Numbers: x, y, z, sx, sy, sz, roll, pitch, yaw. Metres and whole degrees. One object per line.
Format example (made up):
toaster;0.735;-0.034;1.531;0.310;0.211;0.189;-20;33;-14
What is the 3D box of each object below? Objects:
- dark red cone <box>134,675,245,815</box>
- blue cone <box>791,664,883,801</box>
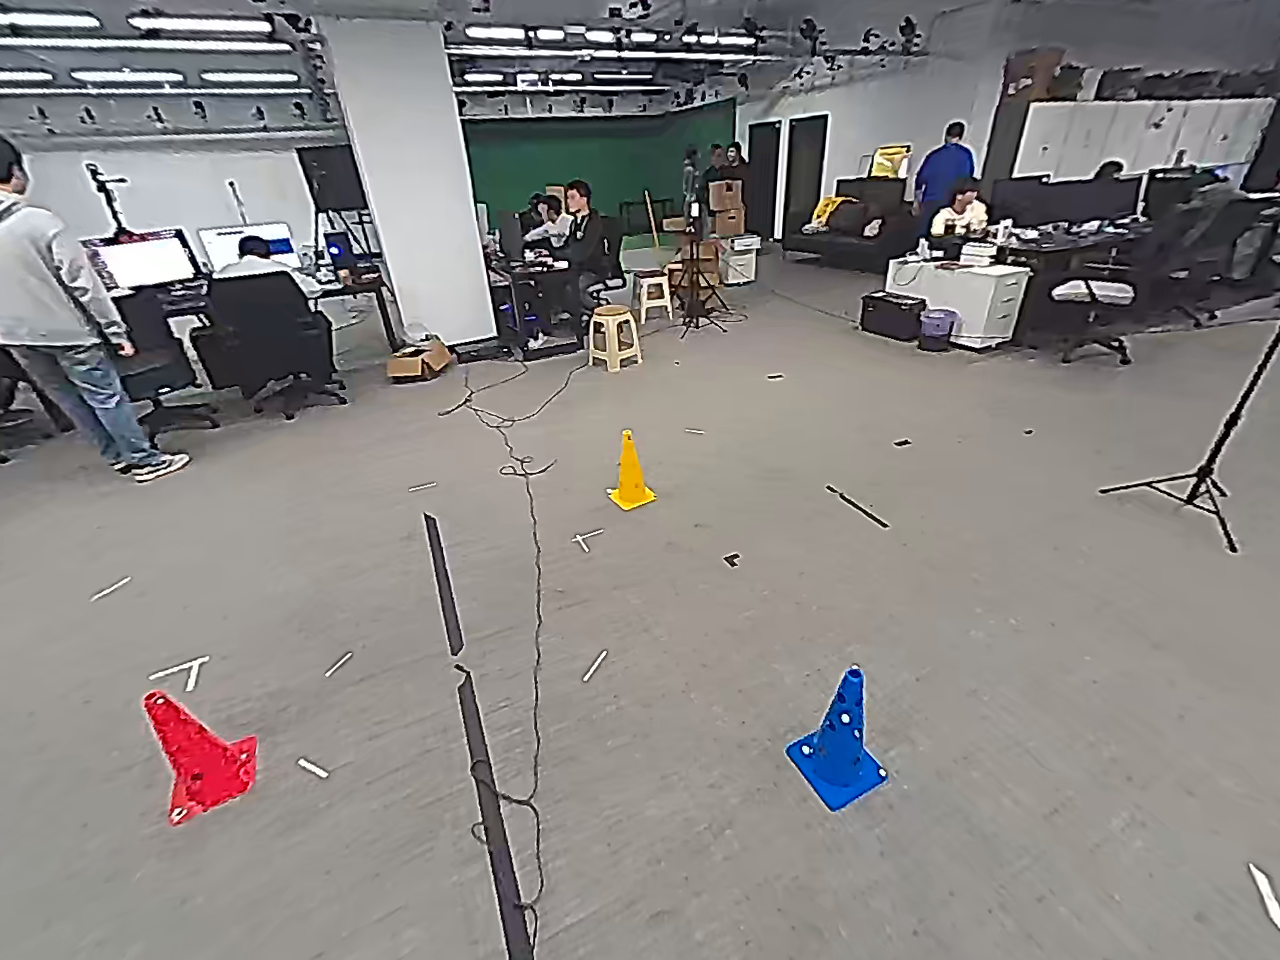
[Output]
dark red cone;-1.234;0.673;1.440;0.201;0.394;0.202;-19;33;-27
blue cone;0.525;0.622;1.393;0.192;0.380;0.193;-14;31;-20
